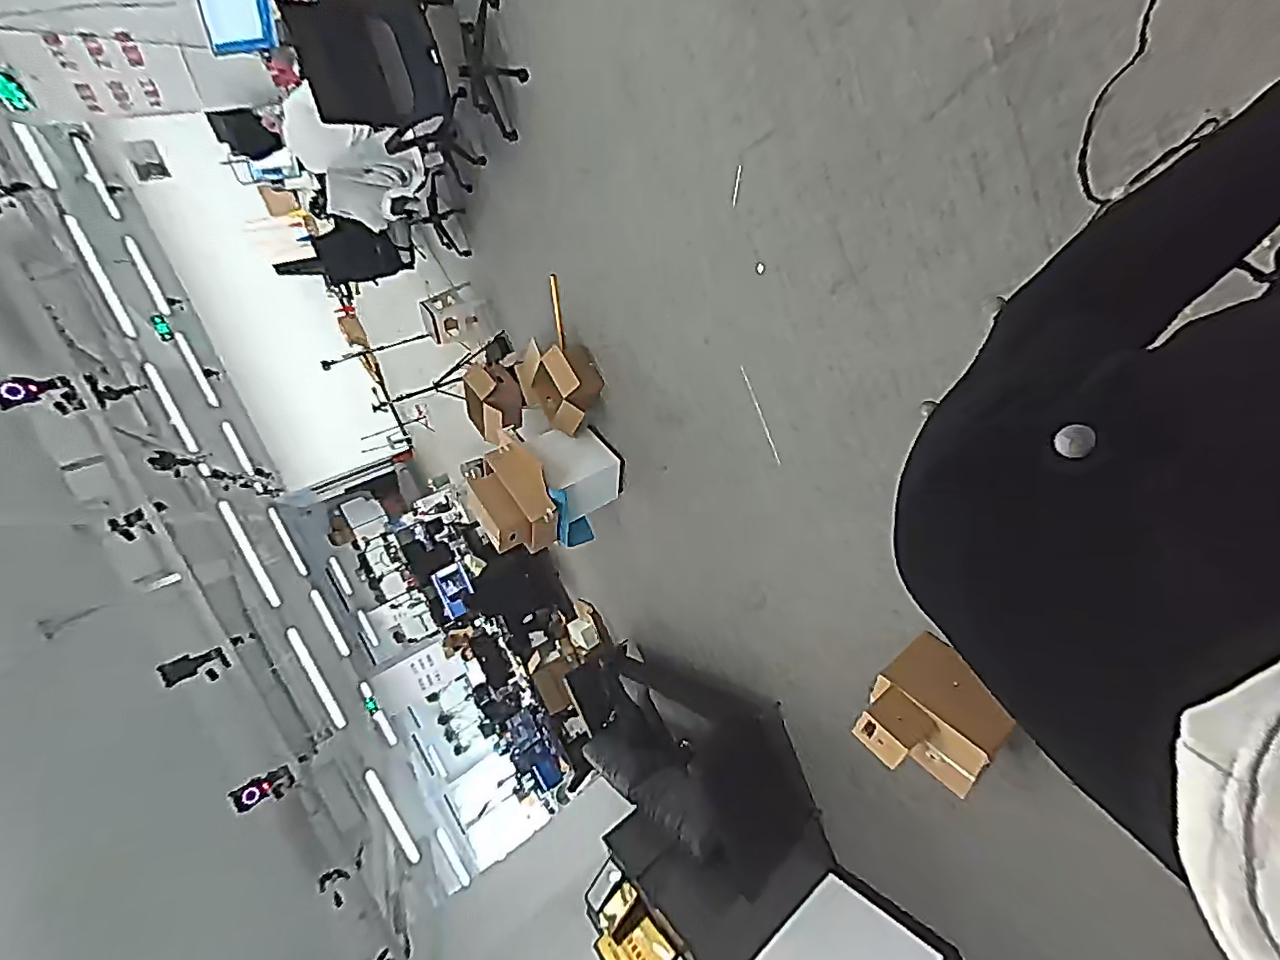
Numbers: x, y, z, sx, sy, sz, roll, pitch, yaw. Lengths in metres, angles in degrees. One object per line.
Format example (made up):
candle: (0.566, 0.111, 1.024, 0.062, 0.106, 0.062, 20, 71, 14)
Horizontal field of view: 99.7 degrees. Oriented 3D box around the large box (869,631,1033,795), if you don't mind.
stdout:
large box: (1.149, 0.857, 2.034, 0.408, 0.320, 0.320, 35, 143, 42)
